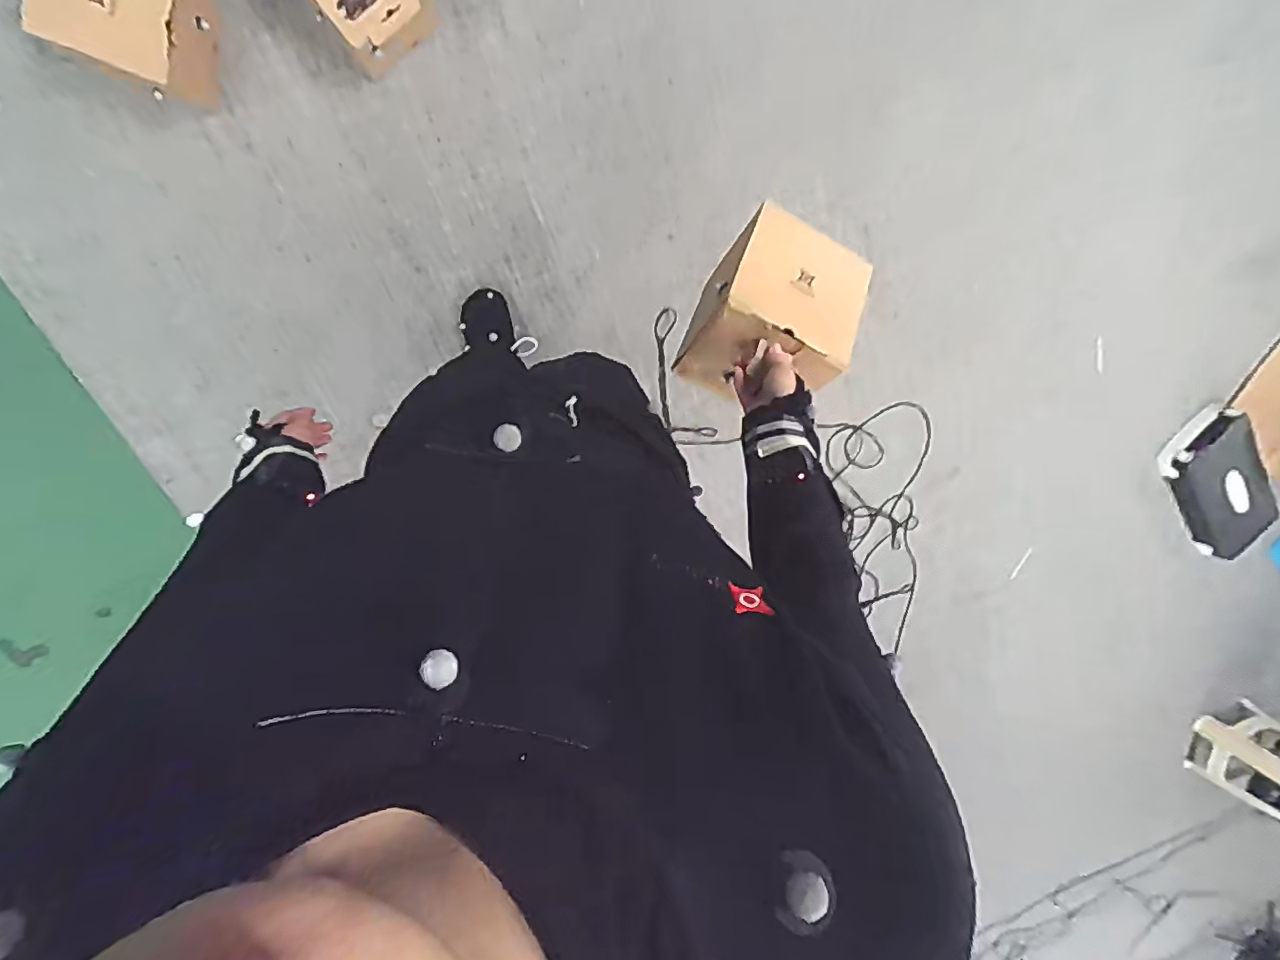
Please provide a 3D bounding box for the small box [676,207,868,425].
[{"bbox_3d":[0.167,-0.205,0.713,0.168,0.176,0.179,26,65,-10],"label":"small box"}]

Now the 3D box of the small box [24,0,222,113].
[{"bbox_3d":[-0.807,-0.722,0.862,0.179,0.176,0.168,13,104,-19],"label":"small box"}]
